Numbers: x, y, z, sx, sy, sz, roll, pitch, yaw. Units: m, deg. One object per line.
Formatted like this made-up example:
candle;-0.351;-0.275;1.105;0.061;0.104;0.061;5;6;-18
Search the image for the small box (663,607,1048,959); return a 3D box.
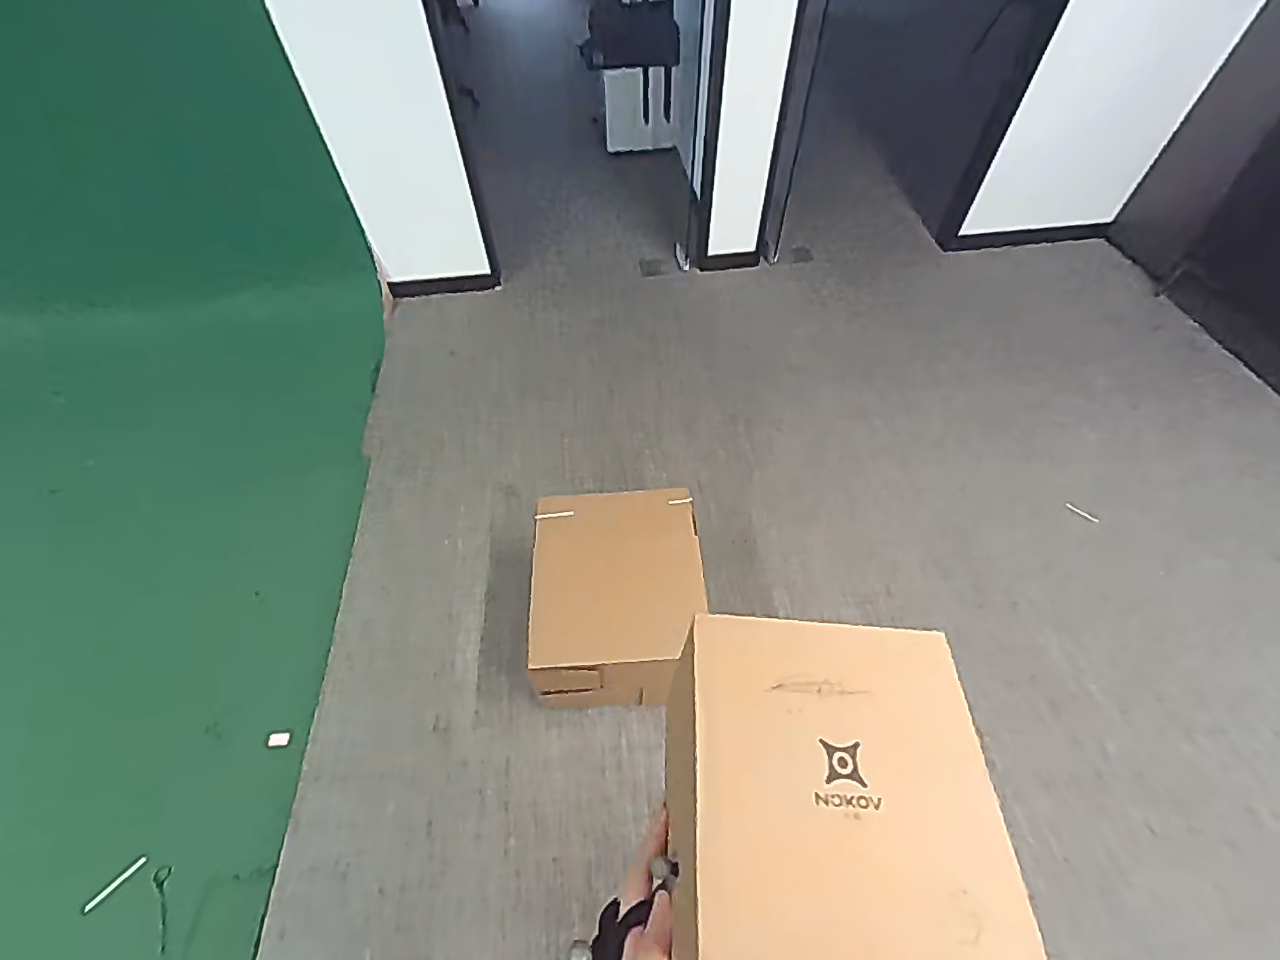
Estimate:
small box;0.107;0.206;0.357;0.168;0.176;0.179;5;50;-1
